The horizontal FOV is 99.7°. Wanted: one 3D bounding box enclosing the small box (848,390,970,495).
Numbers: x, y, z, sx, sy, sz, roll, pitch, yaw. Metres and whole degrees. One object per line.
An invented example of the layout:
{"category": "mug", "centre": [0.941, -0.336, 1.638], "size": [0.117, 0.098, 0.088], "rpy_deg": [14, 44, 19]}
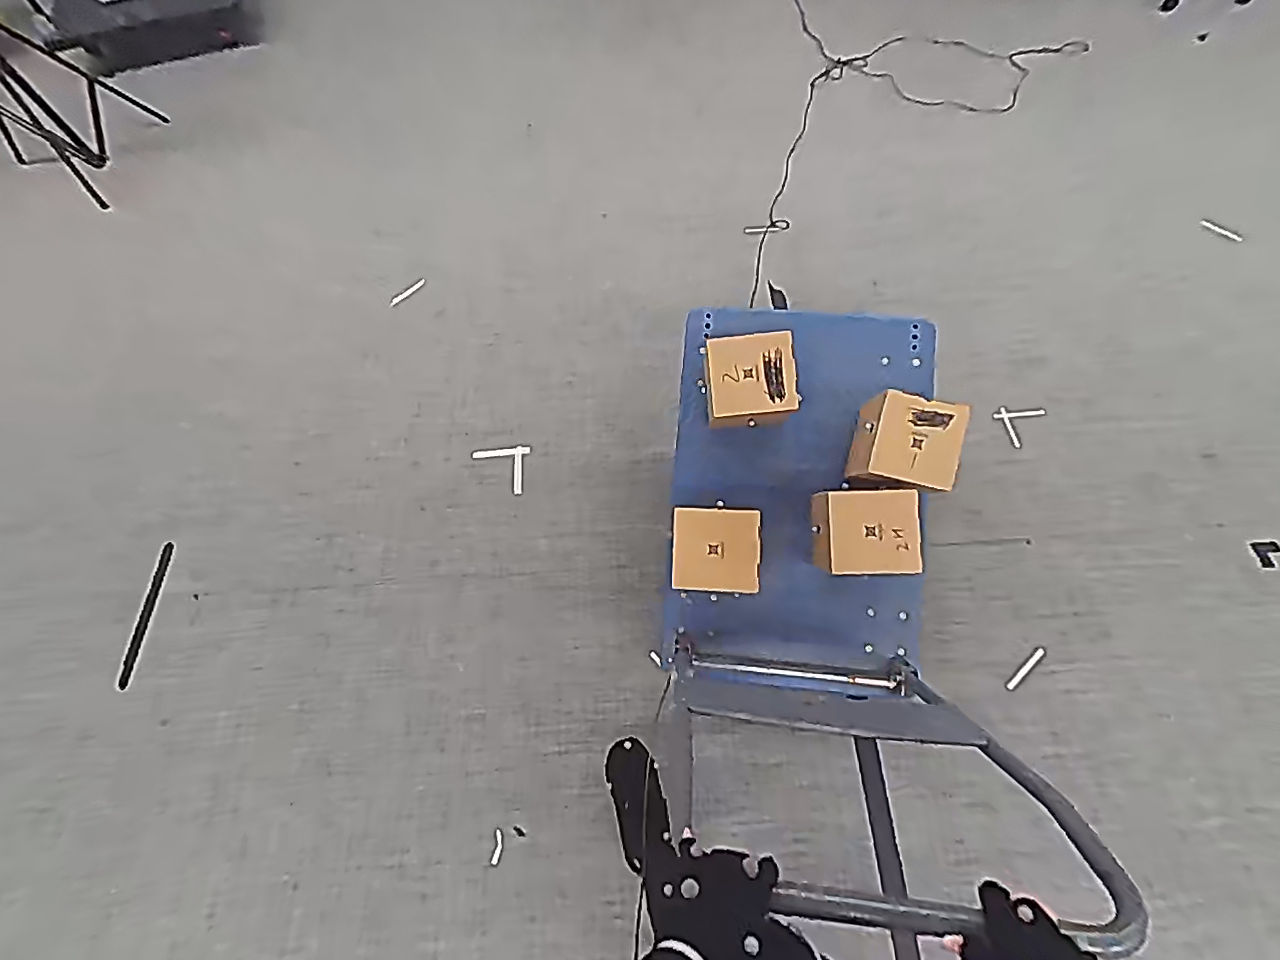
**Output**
{"category": "small box", "centre": [0.558, -0.072, 1.146], "size": [0.168, 0.176, 0.179], "rpy_deg": [14, 88, 6]}

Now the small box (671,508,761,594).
{"category": "small box", "centre": [0.159, 0.149, 1.166], "size": [0.179, 0.176, 0.168], "rpy_deg": [2, 86, 4]}

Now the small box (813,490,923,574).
{"category": "small box", "centre": [0.469, 0.110, 1.140], "size": [0.179, 0.176, 0.168], "rpy_deg": [-2, 86, 5]}
